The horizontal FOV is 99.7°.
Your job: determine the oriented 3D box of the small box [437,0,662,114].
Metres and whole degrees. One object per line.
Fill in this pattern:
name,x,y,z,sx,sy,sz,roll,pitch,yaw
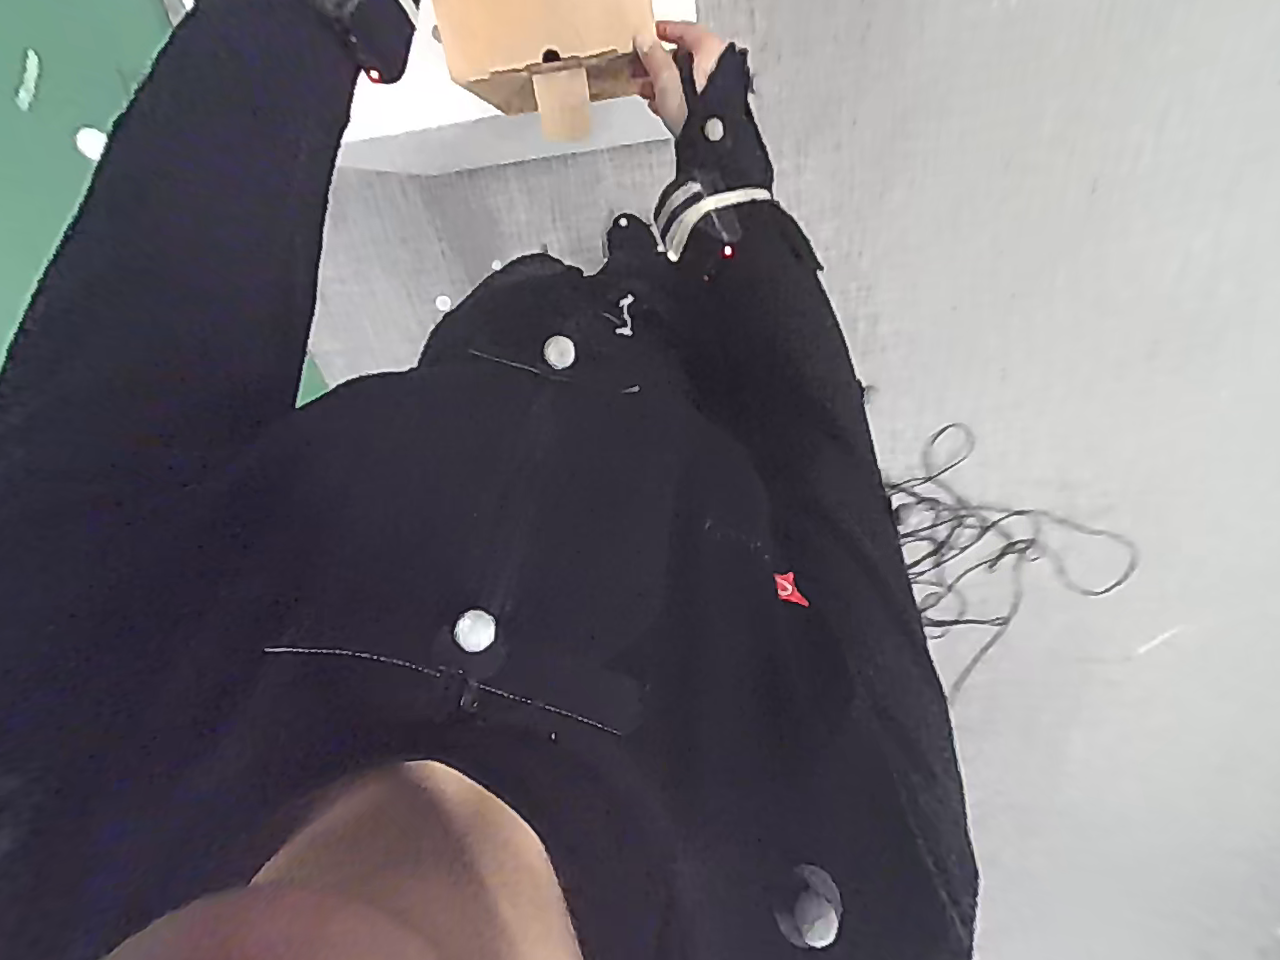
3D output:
small box,-0.073,-0.433,0.452,0.168,0.176,0.179,-6,117,5
